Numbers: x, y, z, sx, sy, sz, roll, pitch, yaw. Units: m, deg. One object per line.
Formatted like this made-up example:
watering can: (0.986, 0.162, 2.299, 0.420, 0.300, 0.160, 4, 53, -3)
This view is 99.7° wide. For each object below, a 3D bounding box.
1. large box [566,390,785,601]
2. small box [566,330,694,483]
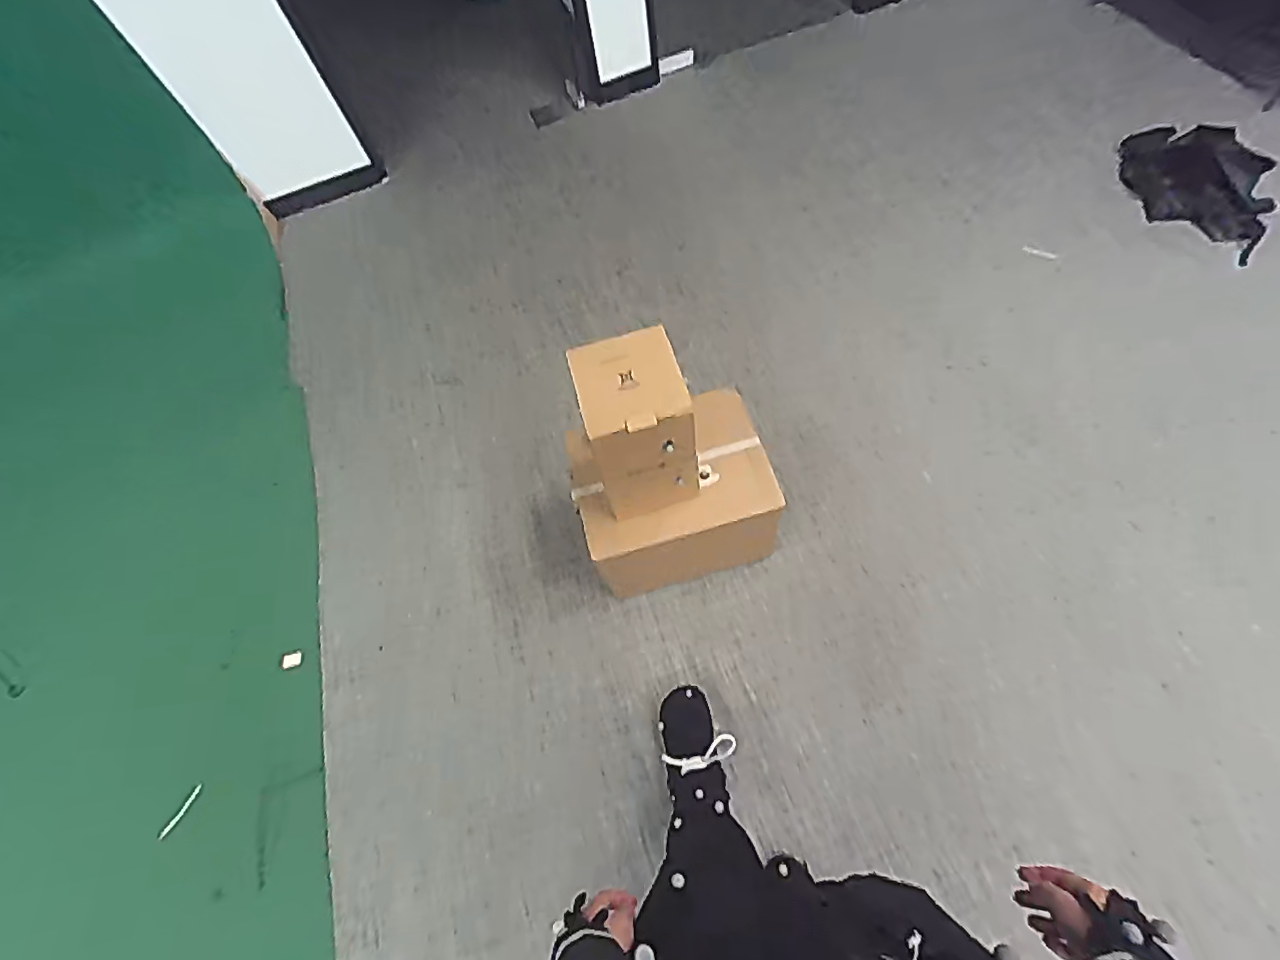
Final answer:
large box: (0.077, 0.049, 1.266, 0.408, 0.320, 0.320, -16, 63, -2)
small box: (-0.011, -0.111, 0.899, 0.168, 0.176, 0.179, -16, 61, -3)
